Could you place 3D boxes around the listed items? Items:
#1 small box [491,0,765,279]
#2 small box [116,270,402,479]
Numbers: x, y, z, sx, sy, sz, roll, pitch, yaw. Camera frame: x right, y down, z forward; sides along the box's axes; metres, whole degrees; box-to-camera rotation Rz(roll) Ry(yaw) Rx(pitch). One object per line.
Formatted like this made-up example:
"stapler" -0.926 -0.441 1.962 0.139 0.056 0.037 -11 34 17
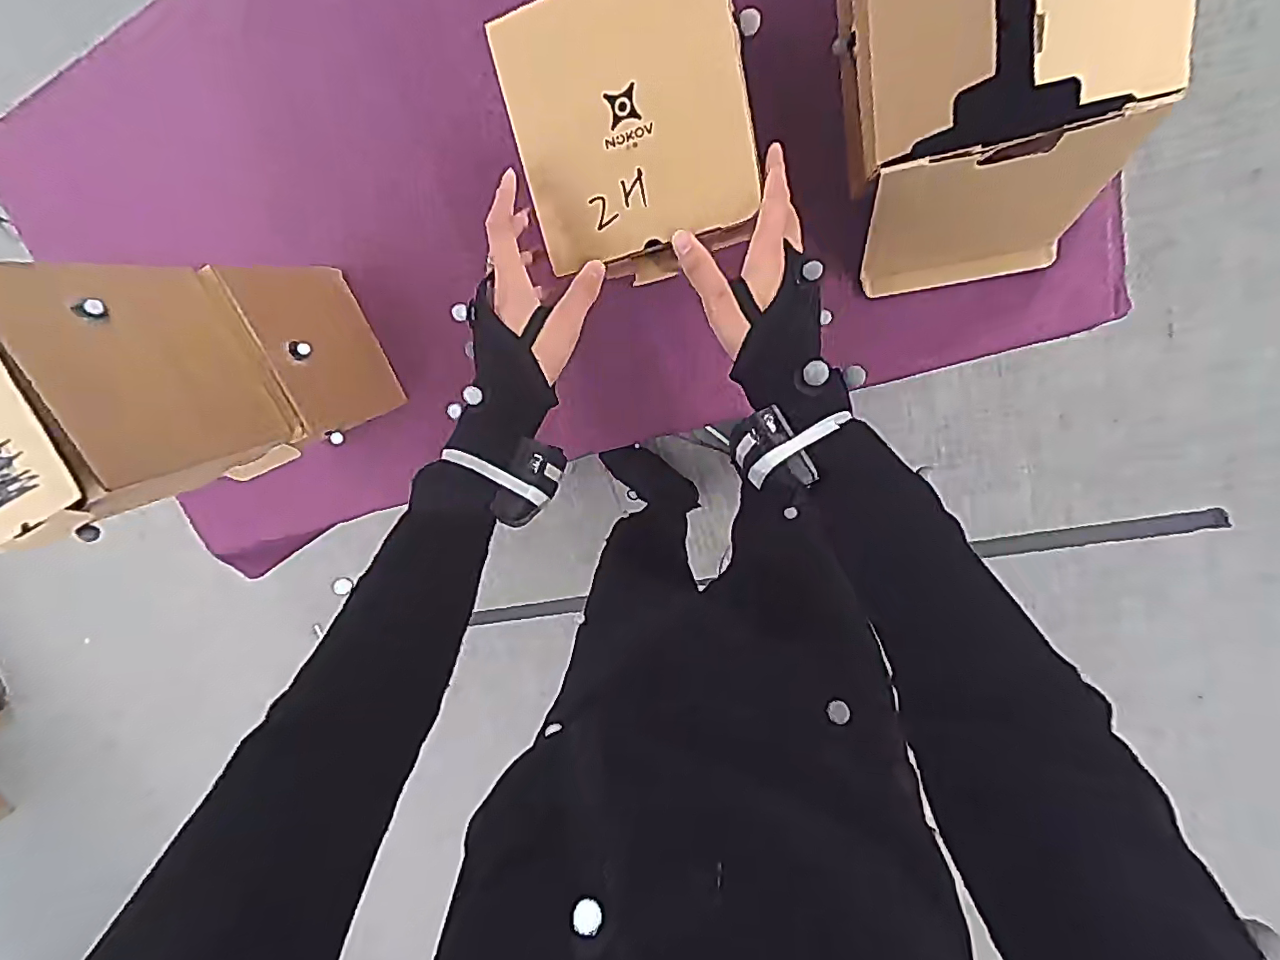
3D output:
"small box" 0.009 -0.276 0.452 0.168 0.176 0.179 -9 108 18
"small box" -0.414 -0.126 0.620 0.168 0.176 0.179 -17 105 19
